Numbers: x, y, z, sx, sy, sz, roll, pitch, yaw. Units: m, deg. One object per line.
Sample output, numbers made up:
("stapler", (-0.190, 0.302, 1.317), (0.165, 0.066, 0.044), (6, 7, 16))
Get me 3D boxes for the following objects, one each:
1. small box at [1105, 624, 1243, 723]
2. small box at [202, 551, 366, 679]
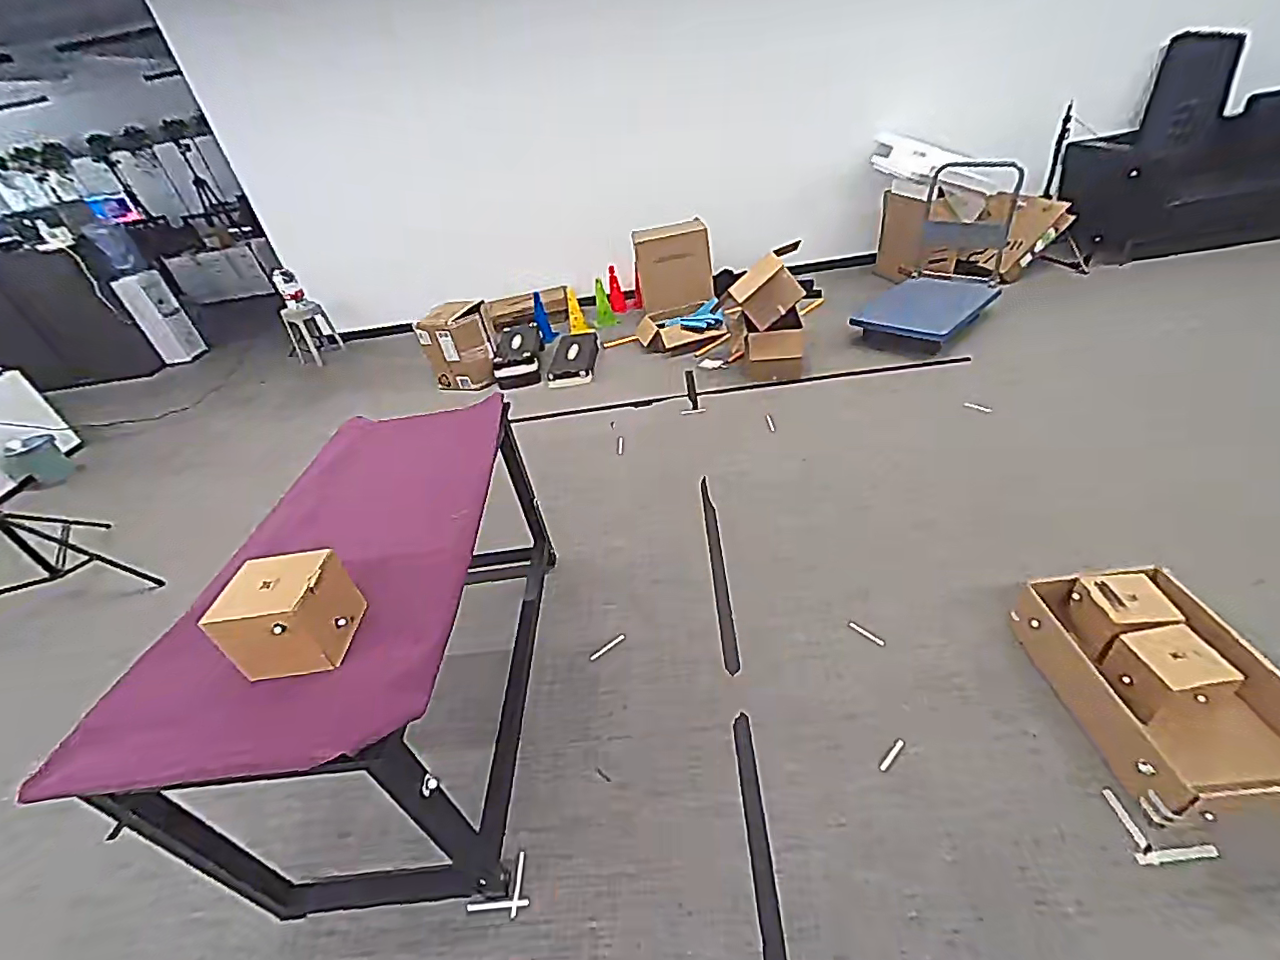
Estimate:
("small box", (1.356, 0.503, 1.393), (0.179, 0.176, 0.168), (-10, 37, 1))
("small box", (-0.674, 0.264, 1.050), (0.179, 0.176, 0.168), (-9, 35, 1))
